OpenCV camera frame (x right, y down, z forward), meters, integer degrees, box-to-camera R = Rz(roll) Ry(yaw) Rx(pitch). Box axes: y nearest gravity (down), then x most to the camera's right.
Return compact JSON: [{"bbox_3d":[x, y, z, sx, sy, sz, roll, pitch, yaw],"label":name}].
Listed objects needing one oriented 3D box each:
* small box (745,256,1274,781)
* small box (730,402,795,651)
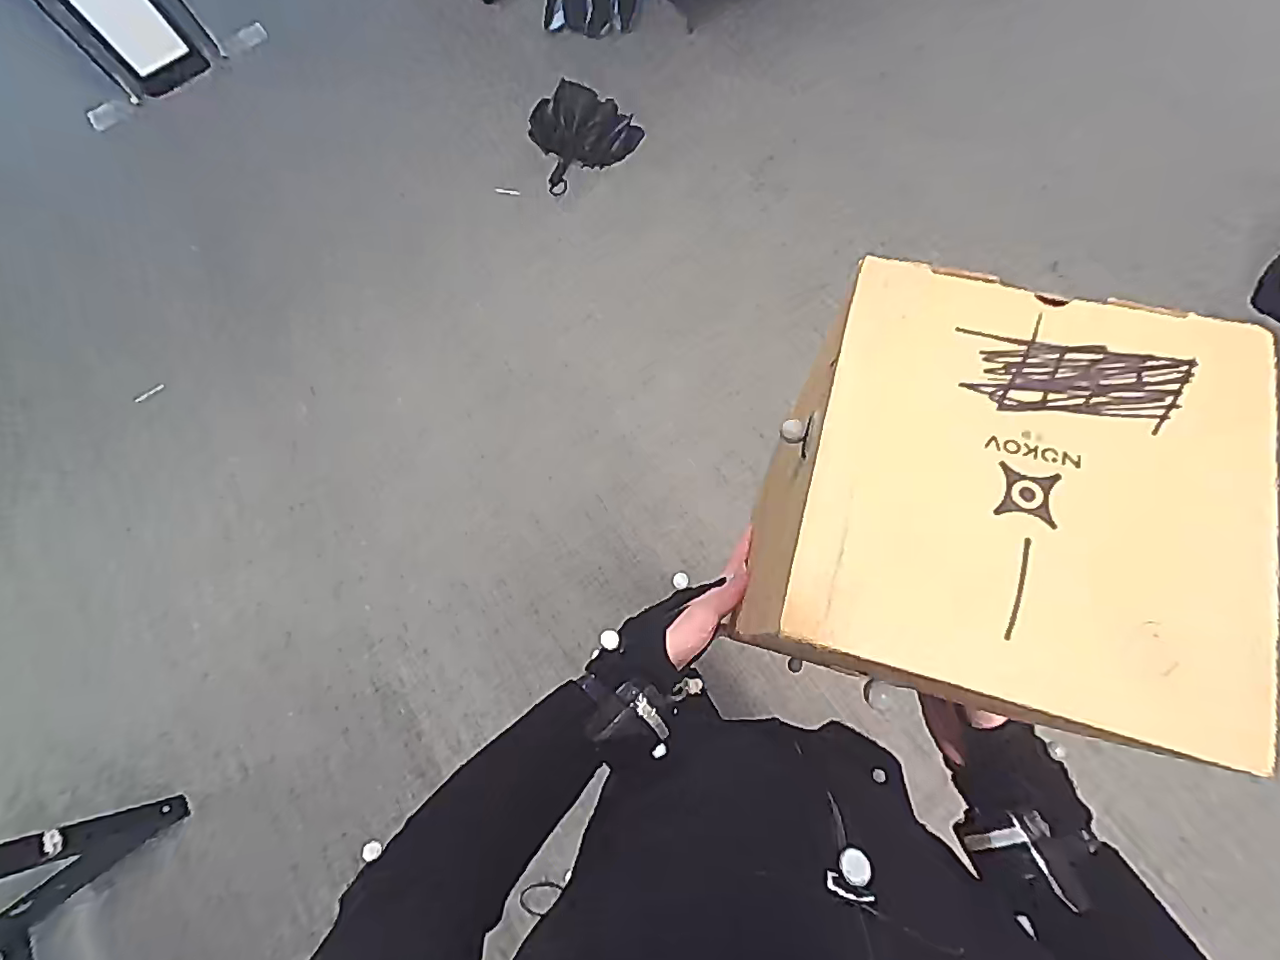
[{"bbox_3d":[0.157,0.020,0.287,0.168,0.176,0.179,15,77,10],"label":"small box"},{"bbox_3d":[0.172,0.062,0.445,0.168,0.176,0.179,13,74,9],"label":"small box"}]
